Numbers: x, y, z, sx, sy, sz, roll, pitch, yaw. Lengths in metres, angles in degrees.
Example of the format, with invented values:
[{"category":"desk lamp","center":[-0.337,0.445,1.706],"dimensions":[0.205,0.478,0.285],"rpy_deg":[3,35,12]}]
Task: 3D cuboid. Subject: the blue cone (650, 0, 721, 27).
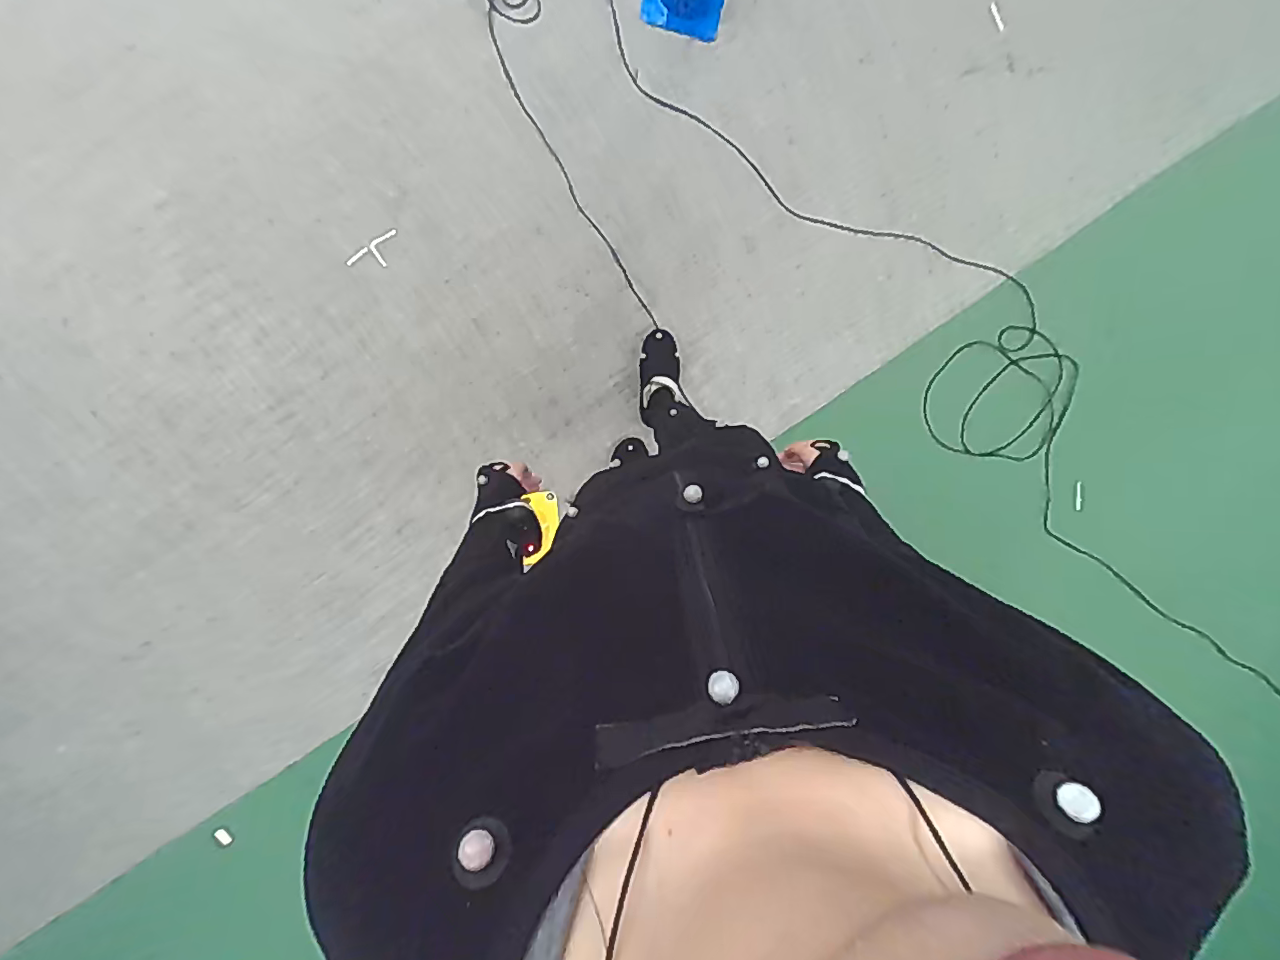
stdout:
[{"category":"blue cone","center":[0.134,-1.211,1.162],"dimensions":[0.192,0.380,0.193],"rpy_deg":[11,94,-6]}]
